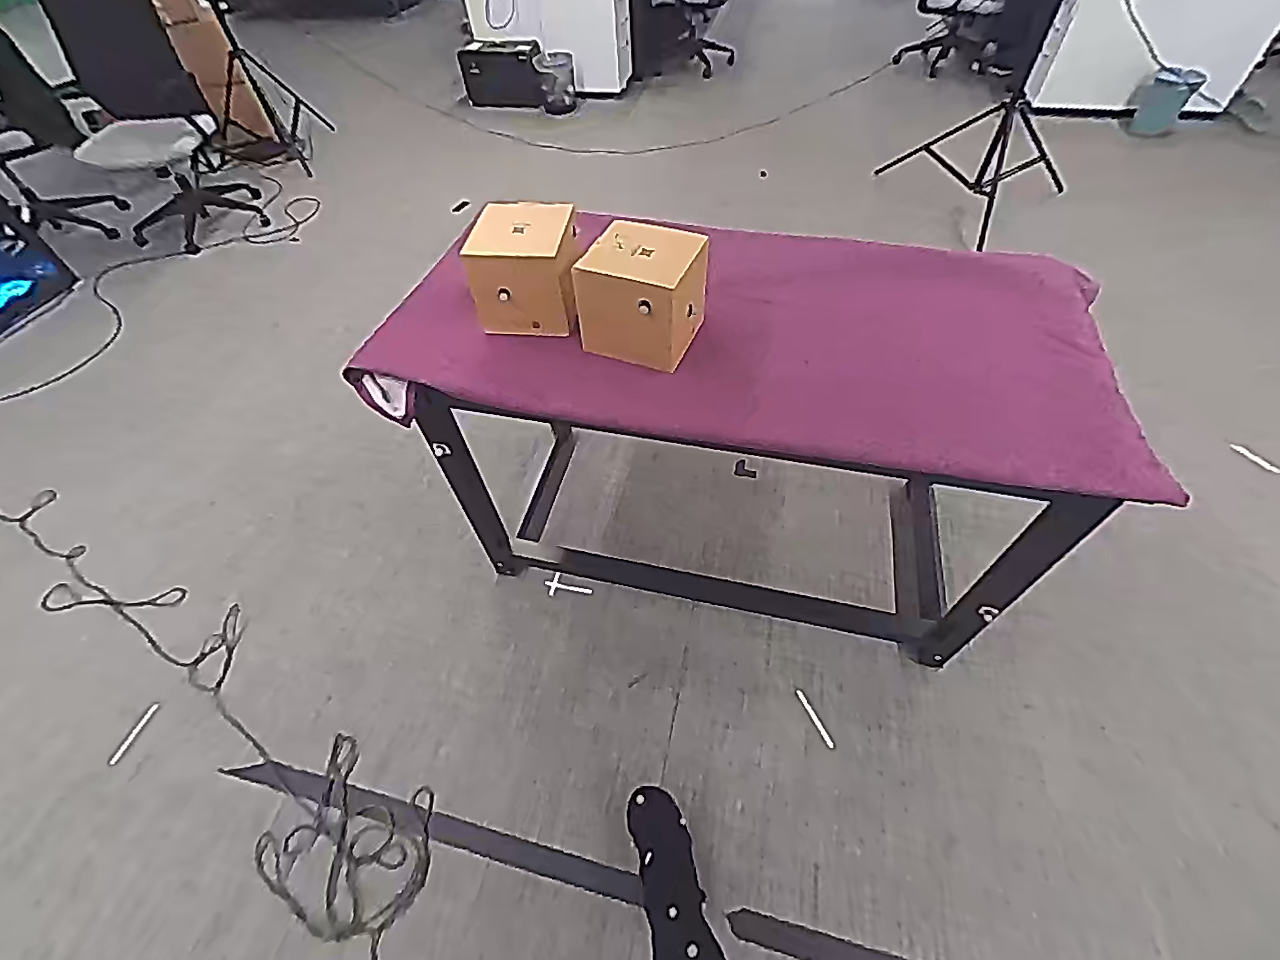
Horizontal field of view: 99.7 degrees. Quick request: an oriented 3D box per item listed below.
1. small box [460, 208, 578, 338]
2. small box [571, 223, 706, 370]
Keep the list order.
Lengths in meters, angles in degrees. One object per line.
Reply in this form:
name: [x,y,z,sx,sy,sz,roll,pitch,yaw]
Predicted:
small box: [-0.210,-0.382,1.008,0.168,0.176,0.179,3,53,5]
small box: [0.003,-0.316,0.942,0.179,0.176,0.168,17,54,16]
